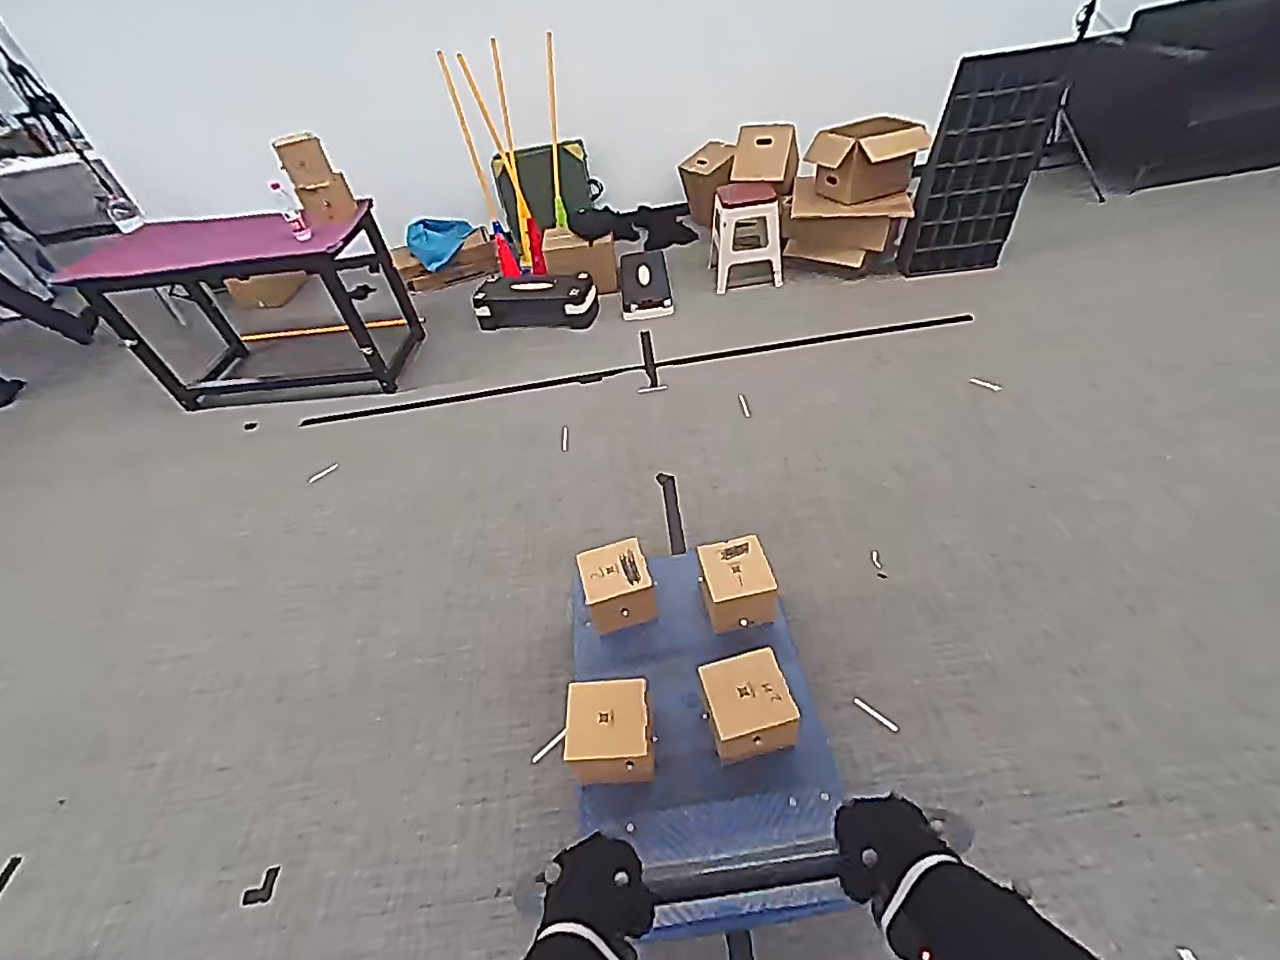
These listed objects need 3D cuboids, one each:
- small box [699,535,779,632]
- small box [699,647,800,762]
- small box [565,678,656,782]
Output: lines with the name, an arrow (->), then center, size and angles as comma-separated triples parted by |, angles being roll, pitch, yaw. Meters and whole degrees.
small box -> 0.257, 0.275, 1.437 | 0.168, 0.176, 0.179 | -12, 47, -2
small box -> 0.243, 0.509, 1.217 | 0.179, 0.176, 0.168 | -14, 46, -4
small box -> -0.061, 0.565, 1.217 | 0.179, 0.176, 0.168 | -5, 46, 3
